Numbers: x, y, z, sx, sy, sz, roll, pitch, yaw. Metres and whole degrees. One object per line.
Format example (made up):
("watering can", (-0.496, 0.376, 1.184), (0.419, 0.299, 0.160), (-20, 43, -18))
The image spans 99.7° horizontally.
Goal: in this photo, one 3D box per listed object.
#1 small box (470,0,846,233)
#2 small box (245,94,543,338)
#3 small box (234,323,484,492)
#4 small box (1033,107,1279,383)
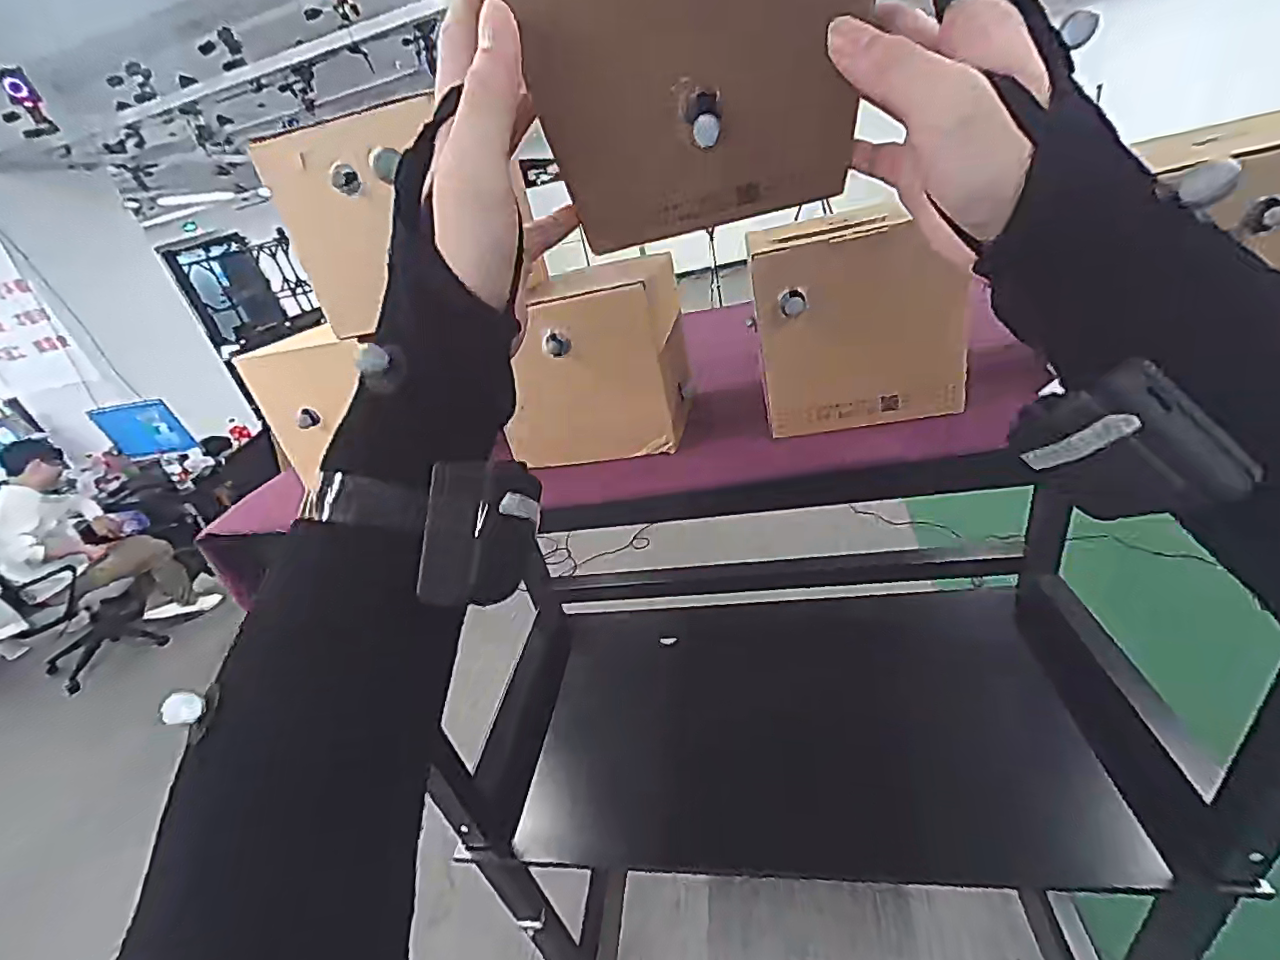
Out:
("small box", (0.015, -0.270, 0.308), (0.168, 0.176, 0.179), (-11, 69, 10))
("small box", (-0.218, -0.248, 0.532), (0.179, 0.176, 0.168), (-7, 29, 12))
("small box", (-0.313, -0.095, 0.646), (0.168, 0.176, 0.179), (-5, 28, 17))
("small box", (0.458, -0.192, 0.453), (0.179, 0.176, 0.168), (-6, 31, 18))
